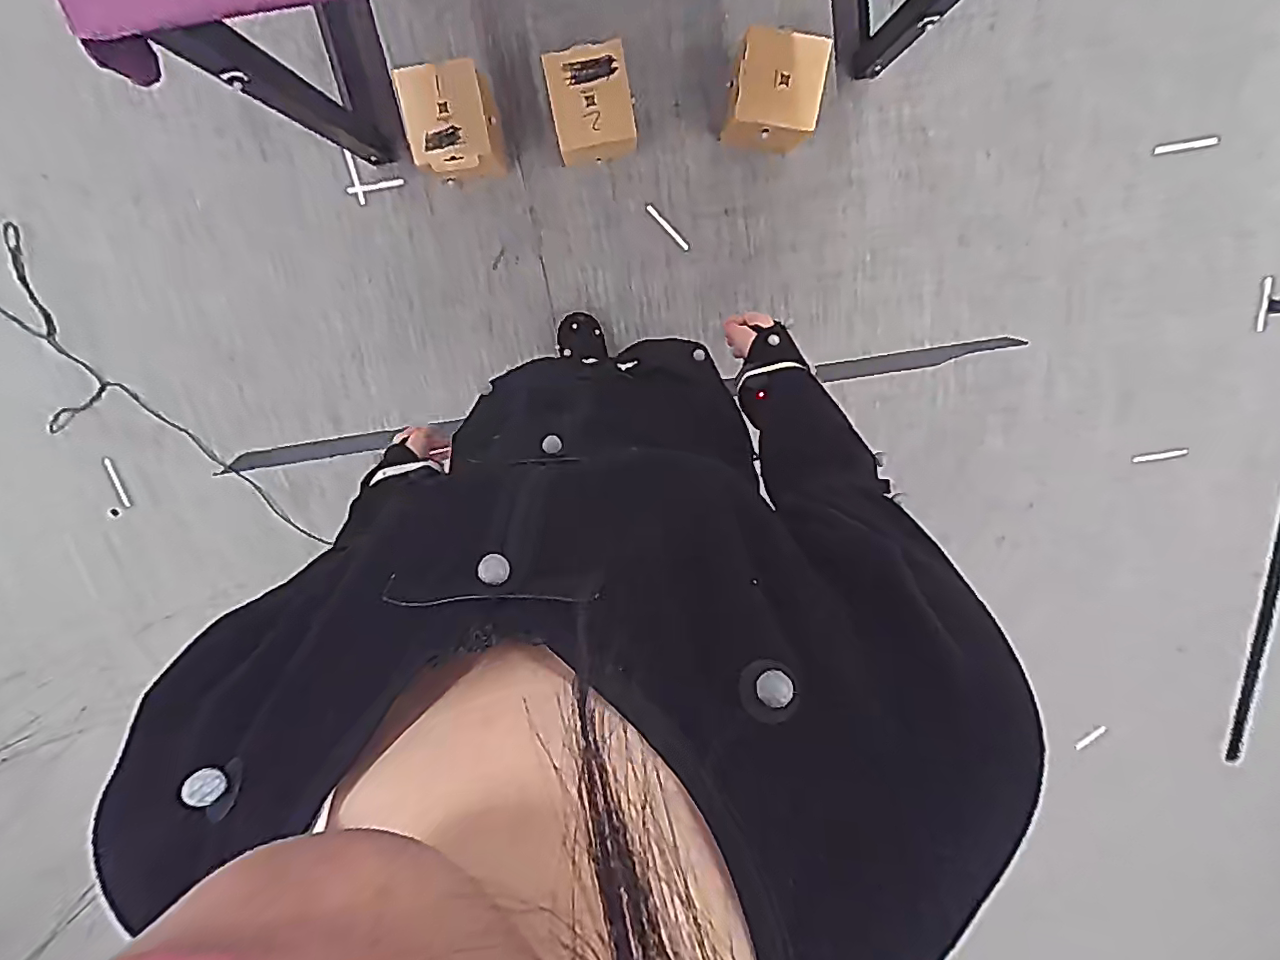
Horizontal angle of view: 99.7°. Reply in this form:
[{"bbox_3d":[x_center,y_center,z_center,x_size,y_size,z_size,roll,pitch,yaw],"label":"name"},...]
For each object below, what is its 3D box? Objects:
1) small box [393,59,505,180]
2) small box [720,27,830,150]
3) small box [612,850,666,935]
[{"bbox_3d":[-0.402,-0.769,1.175,0.168,0.176,0.179,-9,107,0],"label":"small box"},{"bbox_3d":[0.285,-0.841,1.181,0.179,0.176,0.168,7,108,-4],"label":"small box"},{"bbox_3d":[-0.003,1.466,1.926,0.168,0.176,0.179,-11,109,1],"label":"small box"}]
